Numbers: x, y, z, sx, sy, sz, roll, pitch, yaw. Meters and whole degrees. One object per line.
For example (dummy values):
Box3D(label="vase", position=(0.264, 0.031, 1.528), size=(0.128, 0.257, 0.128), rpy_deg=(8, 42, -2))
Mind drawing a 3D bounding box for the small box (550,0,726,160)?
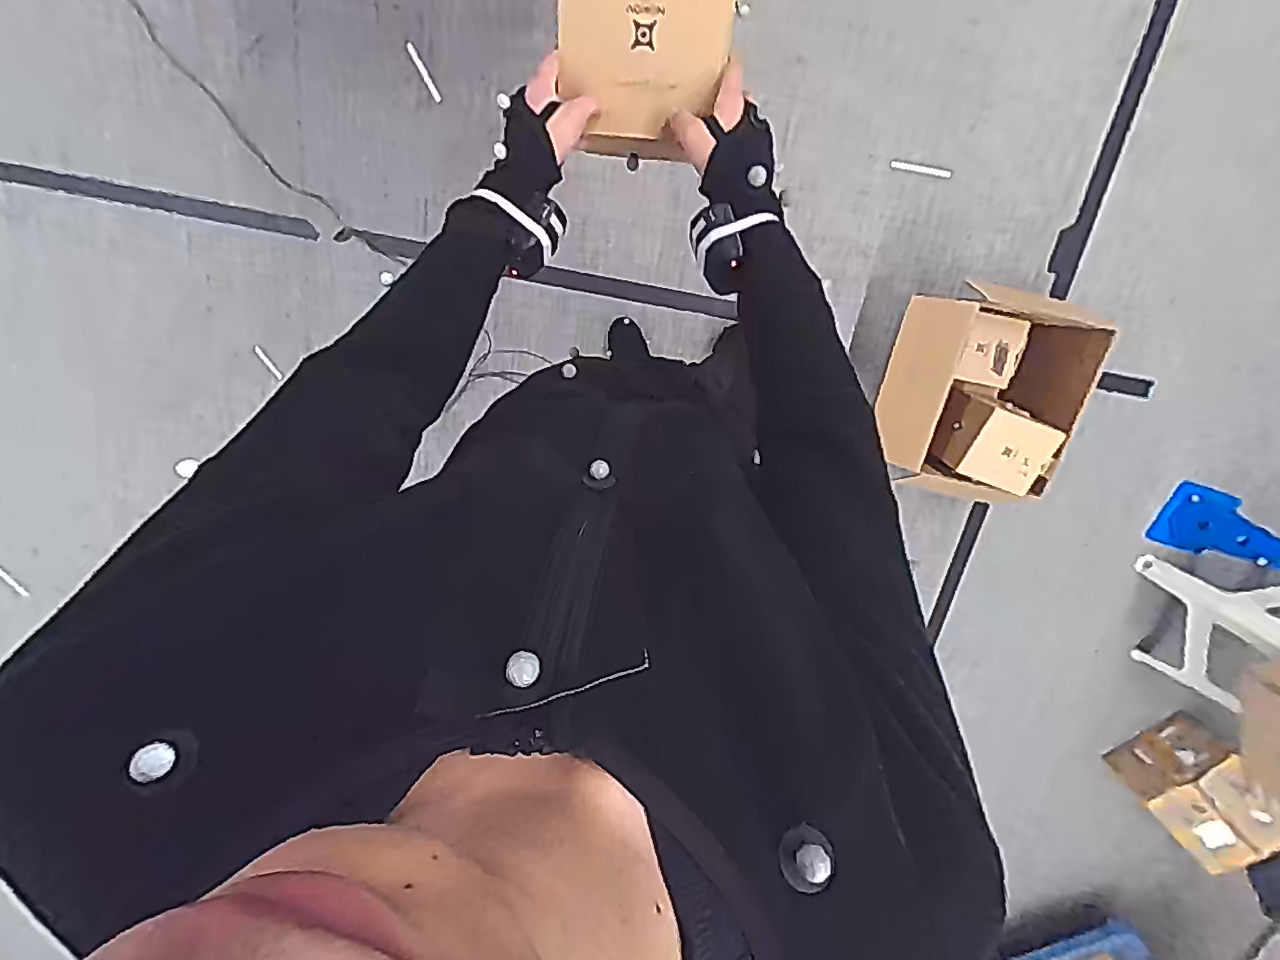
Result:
Box3D(label="small box", position=(0.004, -0.464, 0.584), size=(0.168, 0.176, 0.179), rpy_deg=(6, 114, 4))
